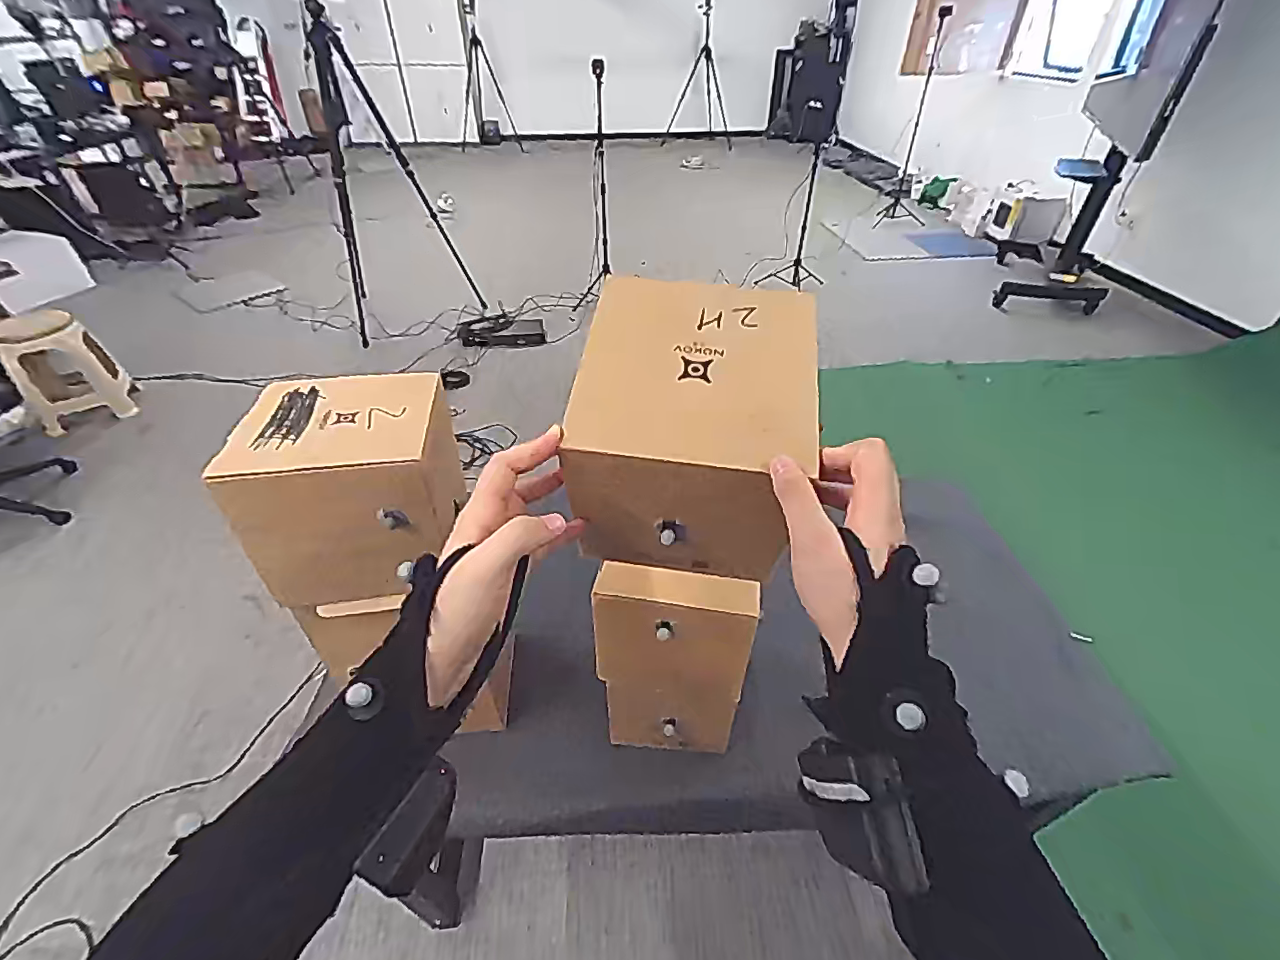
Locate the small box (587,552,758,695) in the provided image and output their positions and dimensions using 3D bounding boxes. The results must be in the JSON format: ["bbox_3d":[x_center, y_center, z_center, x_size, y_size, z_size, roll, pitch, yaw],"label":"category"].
[{"bbox_3d":[0.045,0.139,0.660,0.179,0.176,0.168,5,40,9],"label":"small box"}]

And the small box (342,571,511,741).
[{"bbox_3d":[-0.289,0.254,0.783,0.179,0.176,0.168,-4,39,-4],"label":"small box"}]

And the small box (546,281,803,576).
[{"bbox_3d":[0.034,-0.036,0.448,0.168,0.176,0.179,6,57,6],"label":"small box"}]

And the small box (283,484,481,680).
[{"bbox_3d":[-0.300,0.130,0.676,0.168,0.176,0.179,-6,39,-7],"label":"small box"}]

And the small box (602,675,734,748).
[{"bbox_3d":[0.043,0.259,0.771,0.168,0.176,0.179,2,41,4],"label":"small box"}]
